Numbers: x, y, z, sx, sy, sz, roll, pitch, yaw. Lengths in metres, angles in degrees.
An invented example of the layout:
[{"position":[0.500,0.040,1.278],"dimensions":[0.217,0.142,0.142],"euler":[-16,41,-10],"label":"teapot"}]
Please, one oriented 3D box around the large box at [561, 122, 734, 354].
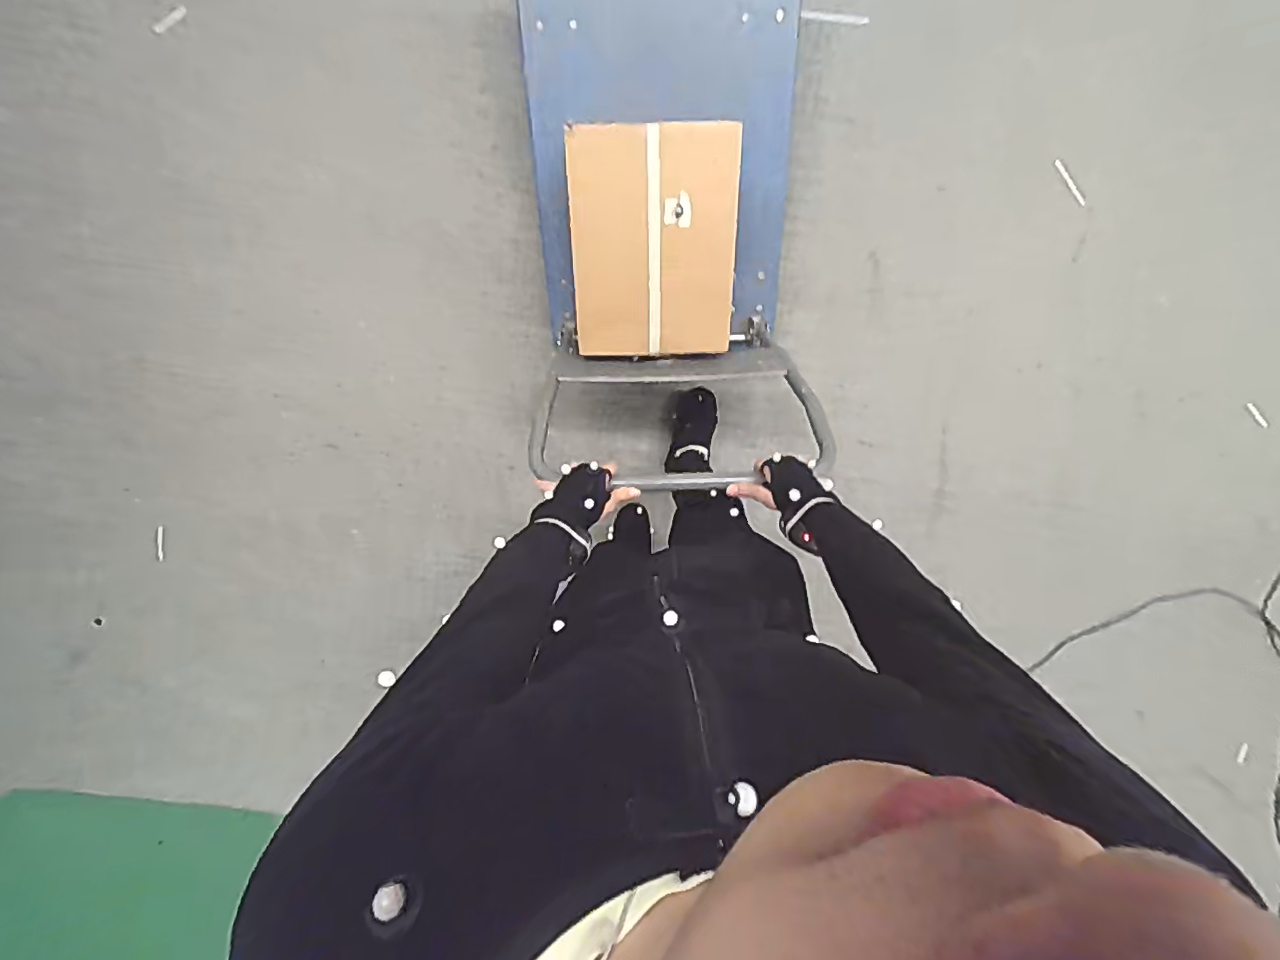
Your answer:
[{"position":[0.020,-0.508,1.167],"dimensions":[0.320,0.320,0.408],"euler":[-2,117,0],"label":"large box"}]
